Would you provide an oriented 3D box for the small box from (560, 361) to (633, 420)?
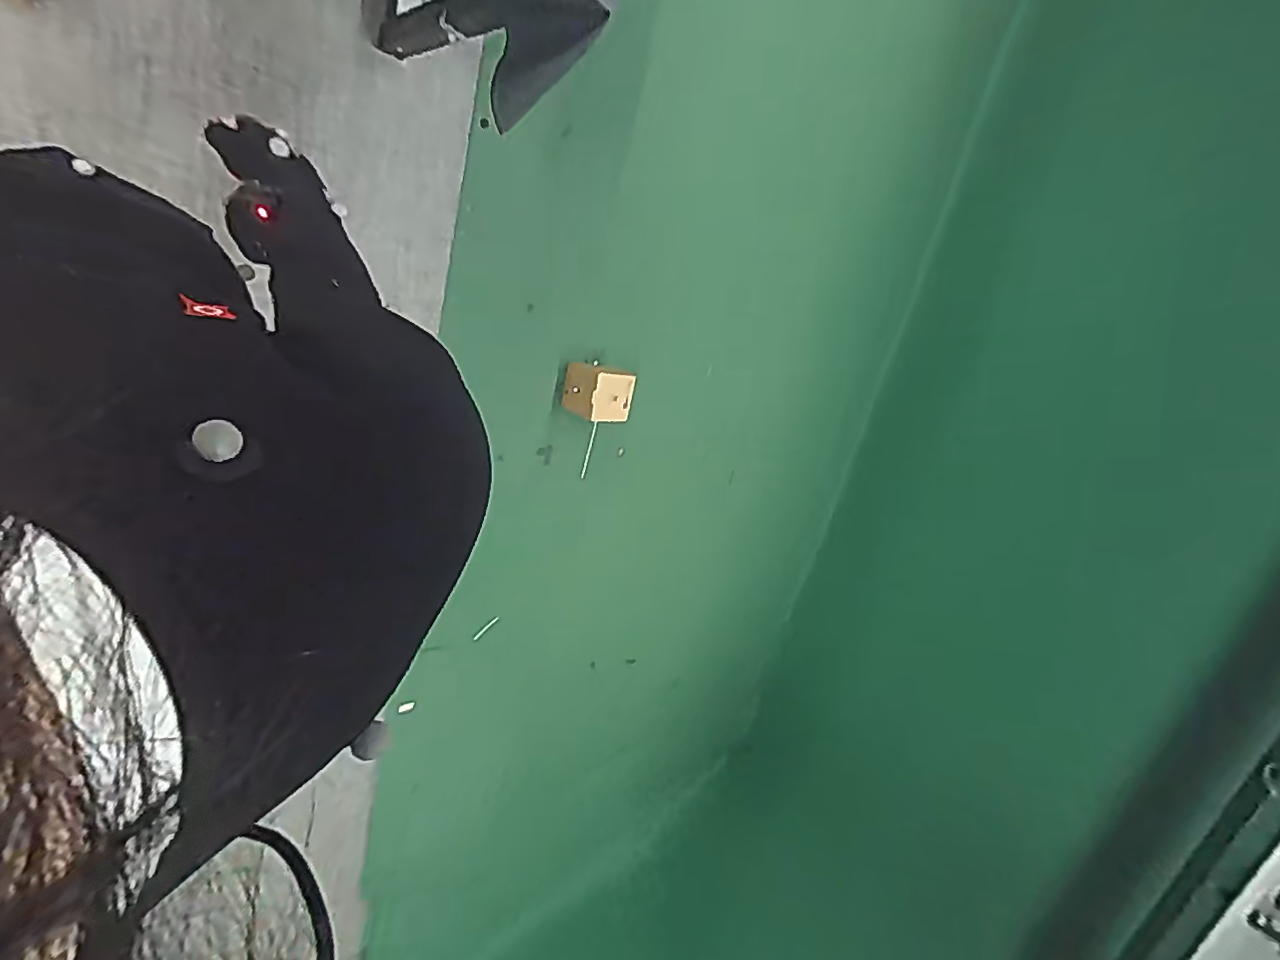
[{"bbox_3d":[-0.157,-0.314,1.894,0.179,0.176,0.168,-4,115,-45],"label":"small box"}]
